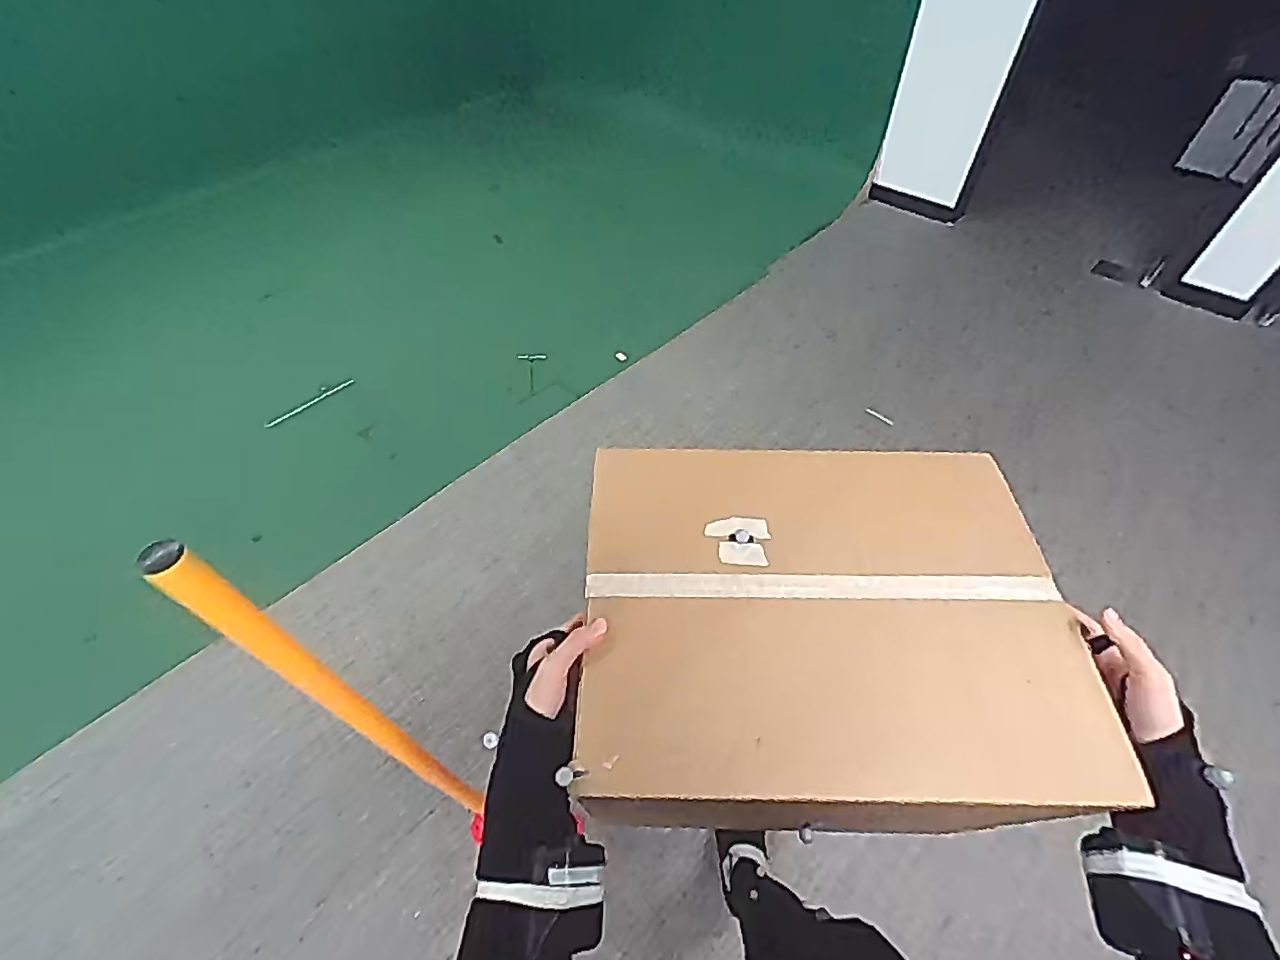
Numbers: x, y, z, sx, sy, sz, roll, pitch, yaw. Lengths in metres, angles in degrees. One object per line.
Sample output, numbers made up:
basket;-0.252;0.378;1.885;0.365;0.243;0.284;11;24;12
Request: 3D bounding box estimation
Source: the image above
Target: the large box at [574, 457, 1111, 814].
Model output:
large box;0.154;0.187;0.602;0.408;0.320;0.320;0;55;1
